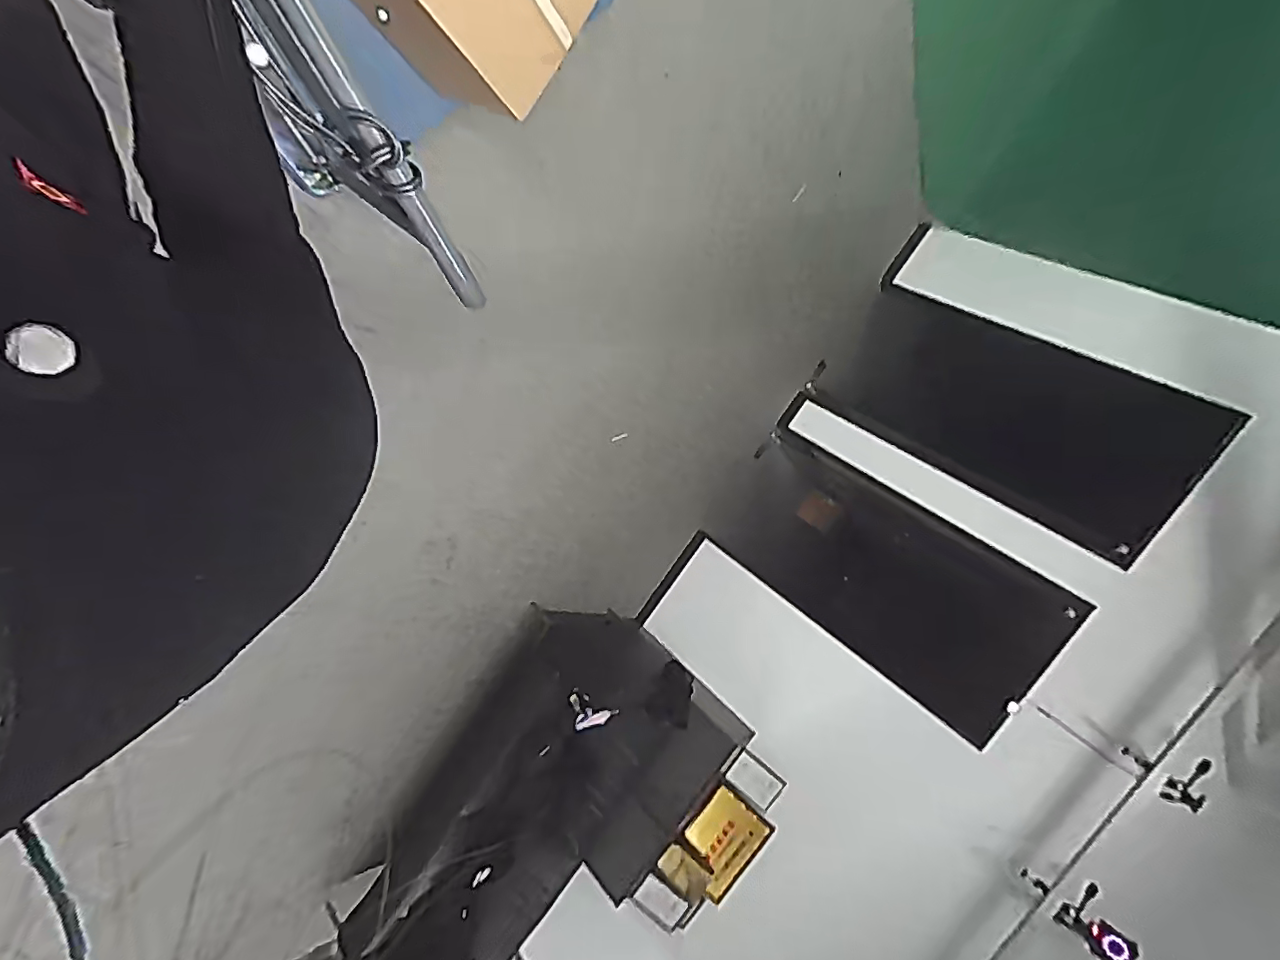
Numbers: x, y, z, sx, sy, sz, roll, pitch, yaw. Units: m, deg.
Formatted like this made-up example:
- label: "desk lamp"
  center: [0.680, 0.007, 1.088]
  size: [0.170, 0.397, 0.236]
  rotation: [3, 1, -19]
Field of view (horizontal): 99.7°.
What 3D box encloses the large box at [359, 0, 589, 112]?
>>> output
- label: "large box"
  center: [-0.330, -0.913, 0.880]
  size: [0.320, 0.320, 0.408]
  rotation: [-56, 149, 6]
